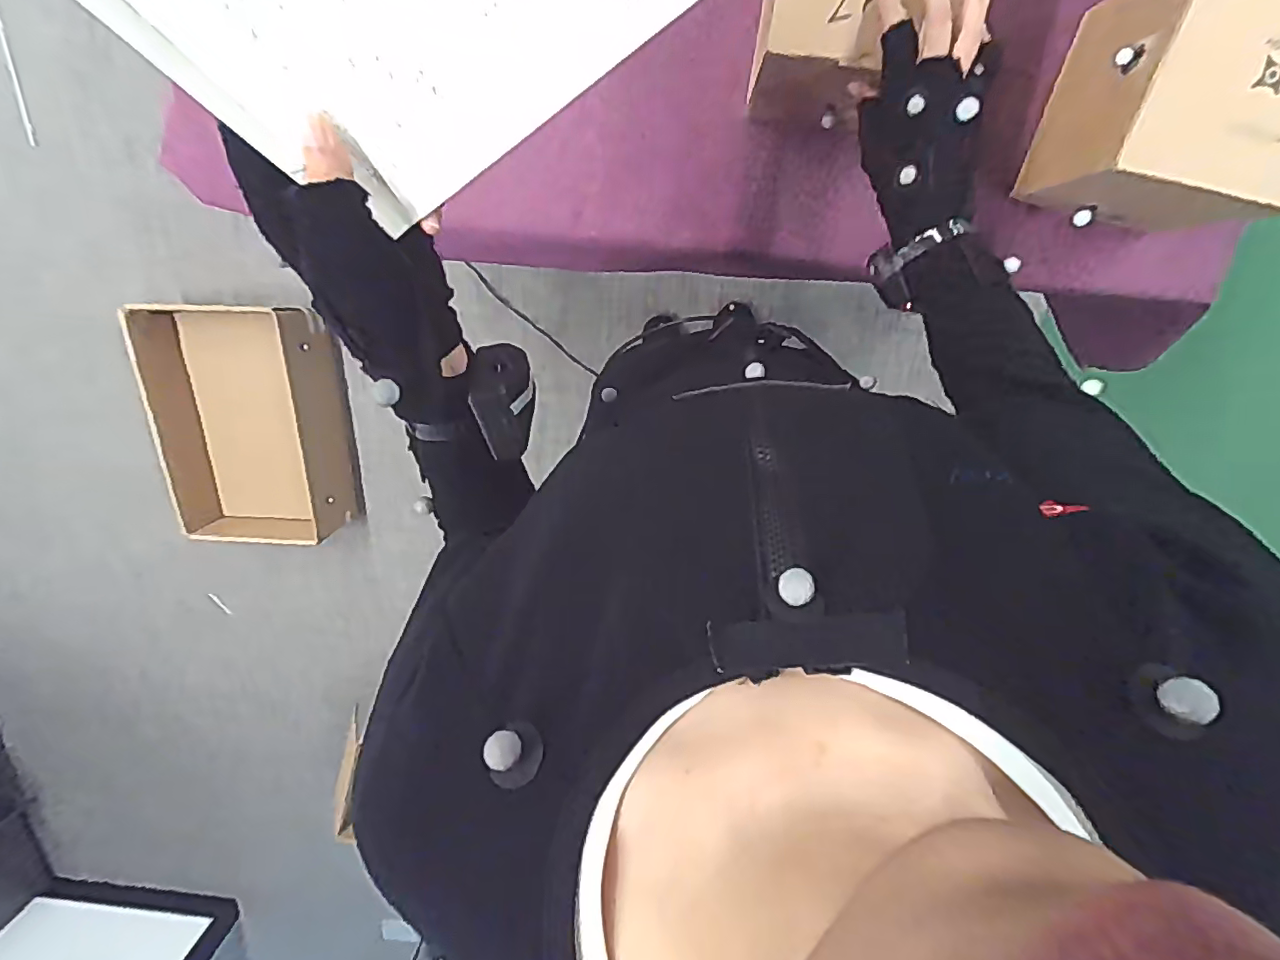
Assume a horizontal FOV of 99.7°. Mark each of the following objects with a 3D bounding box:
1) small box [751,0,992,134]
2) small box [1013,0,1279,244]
[{"bbox_3d":[0.203,-0.442,0.485,0.168,0.176,0.179,9,110,1],"label":"small box"},{"bbox_3d":[0.497,-0.335,0.501,0.168,0.176,0.179,15,110,0],"label":"small box"}]
